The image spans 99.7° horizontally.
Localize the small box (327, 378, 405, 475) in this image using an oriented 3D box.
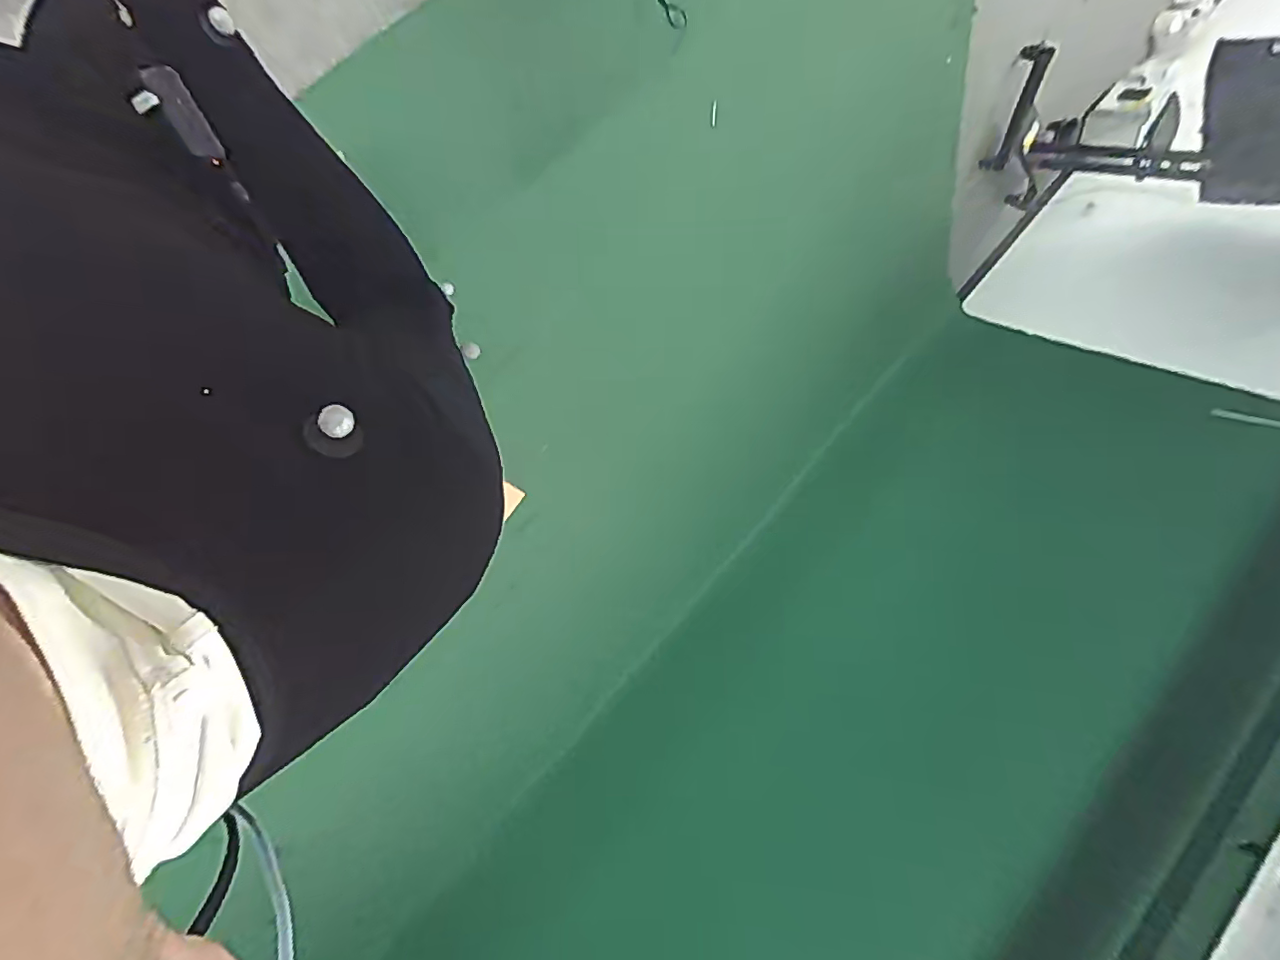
[{"bbox_3d":[-0.591,-0.109,1.265,0.179,0.176,0.168,-49,141,-7],"label":"small box"}]
